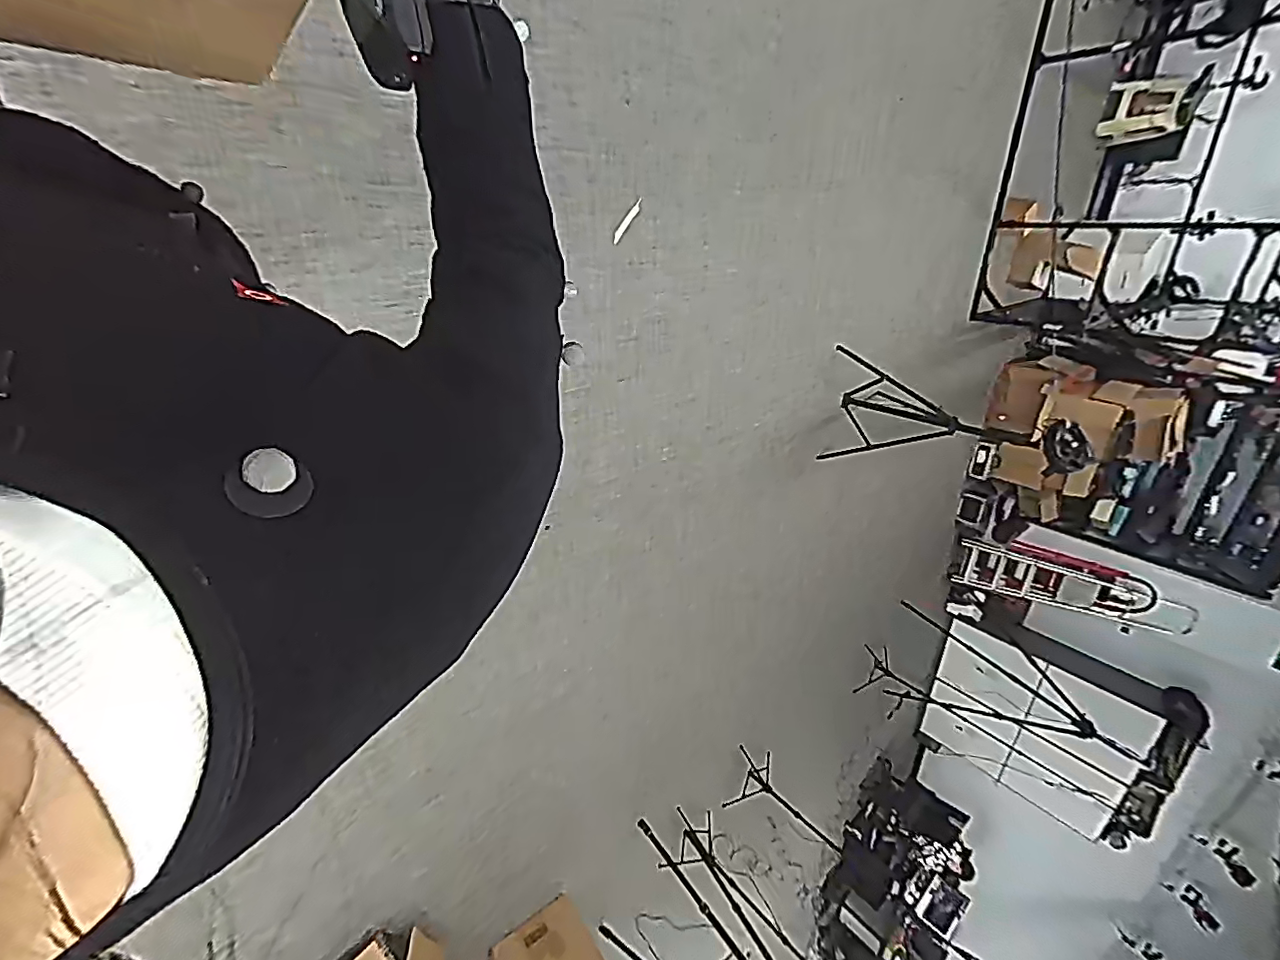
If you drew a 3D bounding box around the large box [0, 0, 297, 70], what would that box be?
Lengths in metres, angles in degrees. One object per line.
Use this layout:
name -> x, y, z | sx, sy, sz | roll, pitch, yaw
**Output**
large box -> -0.420, -0.430, 0.234 | 0.408, 0.320, 0.320 | -16, 120, -36
